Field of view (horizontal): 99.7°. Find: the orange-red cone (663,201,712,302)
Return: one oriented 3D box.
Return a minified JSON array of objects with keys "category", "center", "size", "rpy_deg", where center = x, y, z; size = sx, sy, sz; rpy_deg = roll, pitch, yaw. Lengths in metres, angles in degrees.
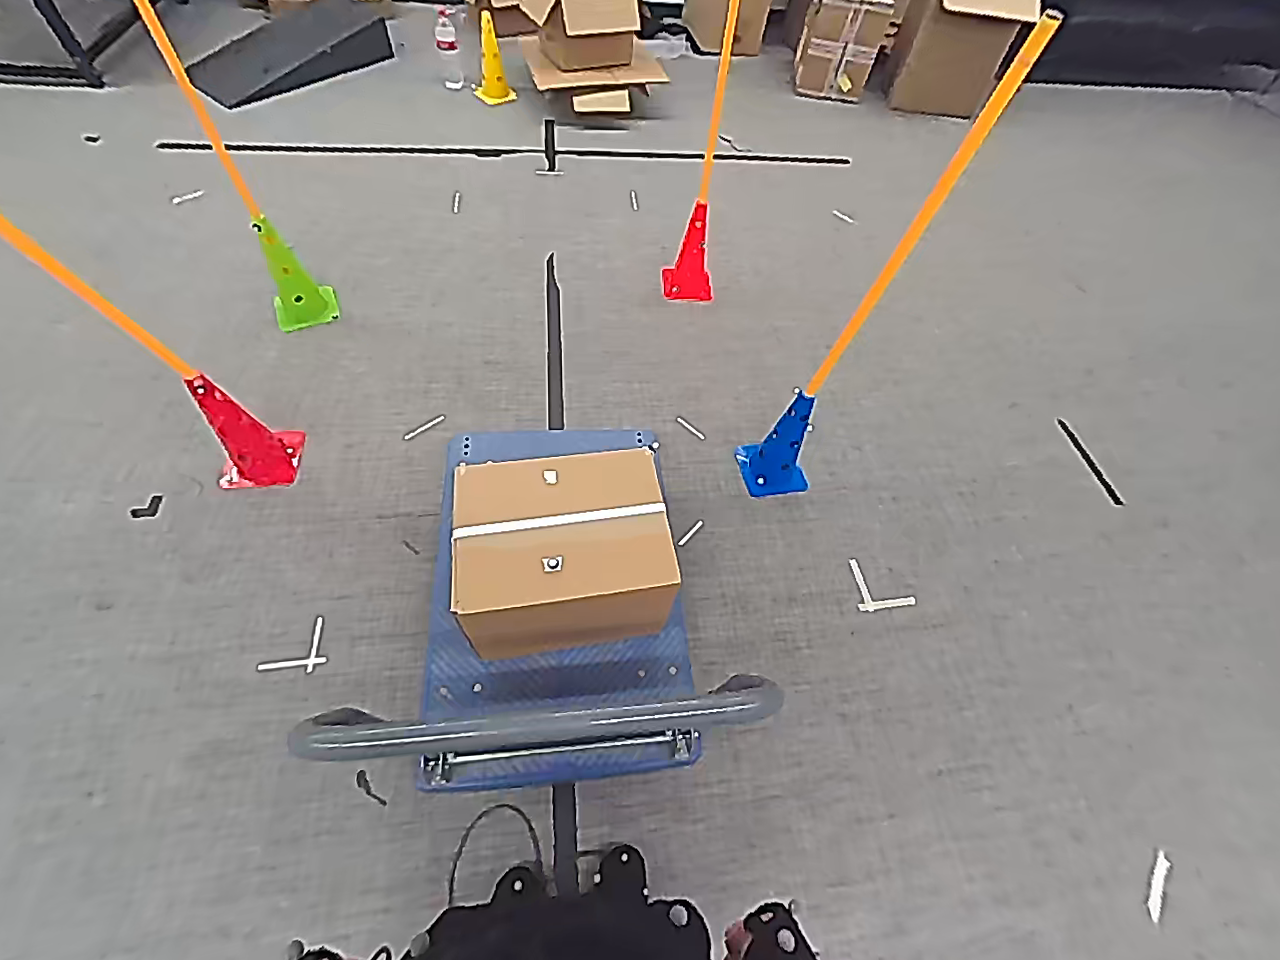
[{"category":"orange-red cone","center":[0.211,-0.892,2.074],"size":[0.199,0.360,0.198],"rpy_deg":[3,57,-5]}]

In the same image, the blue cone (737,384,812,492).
[{"category":"blue cone","center":[0.439,-0.136,1.621],"size":[0.193,0.380,0.192],"rpy_deg":[-6,57,-10]}]
